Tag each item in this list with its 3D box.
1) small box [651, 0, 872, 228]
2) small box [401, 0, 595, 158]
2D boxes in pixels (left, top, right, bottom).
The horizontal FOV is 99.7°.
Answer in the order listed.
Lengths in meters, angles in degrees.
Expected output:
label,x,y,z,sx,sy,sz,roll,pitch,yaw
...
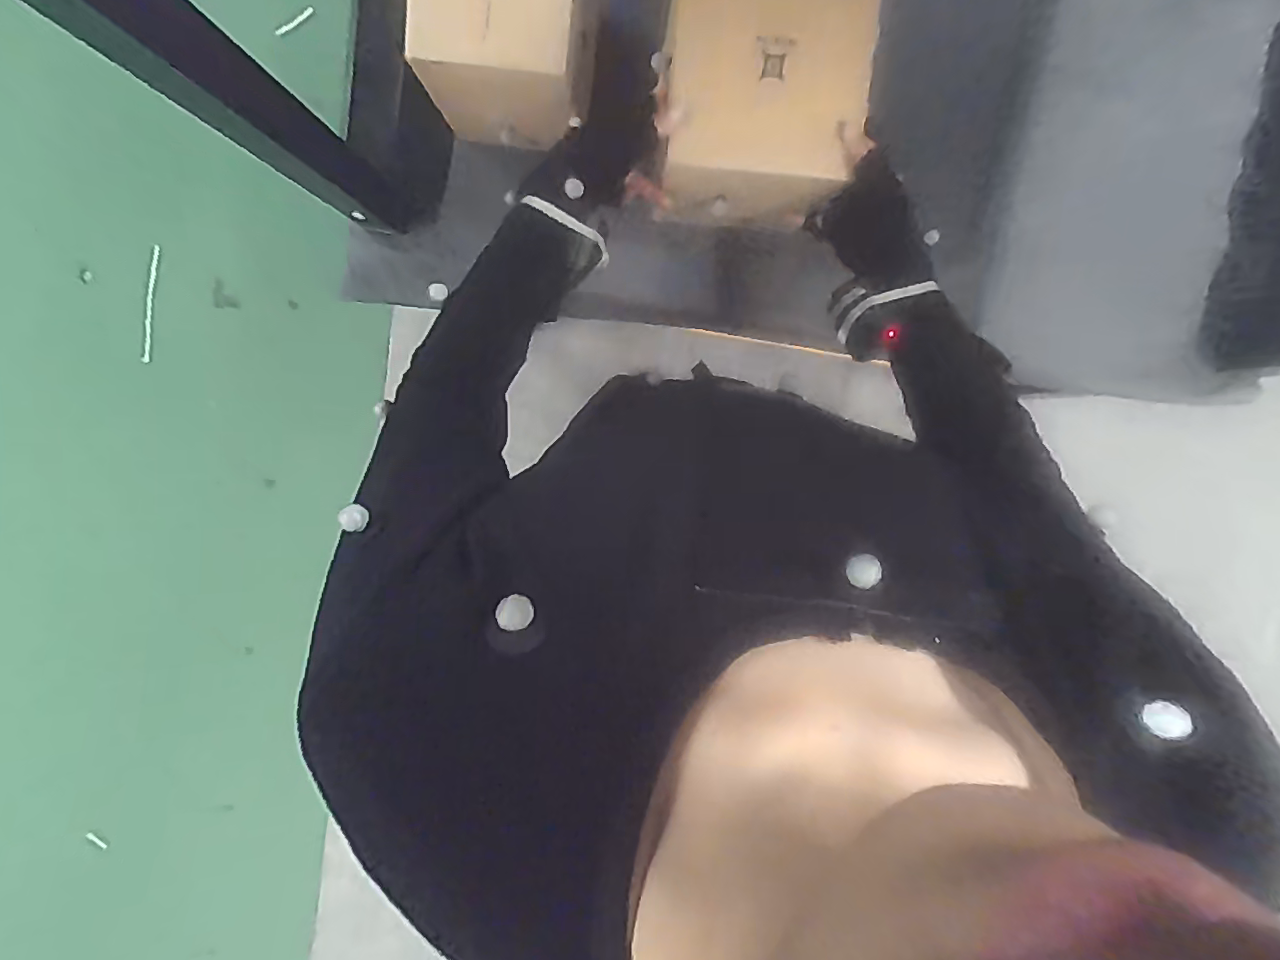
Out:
label,x,y,z,sx,sy,sz,roll,pitch,yaw
small box,0.100,-0.359,0.520,0.168,0.176,0.179,4,99,-3
small box,-0.146,-0.504,0.611,0.168,0.176,0.179,7,96,1
